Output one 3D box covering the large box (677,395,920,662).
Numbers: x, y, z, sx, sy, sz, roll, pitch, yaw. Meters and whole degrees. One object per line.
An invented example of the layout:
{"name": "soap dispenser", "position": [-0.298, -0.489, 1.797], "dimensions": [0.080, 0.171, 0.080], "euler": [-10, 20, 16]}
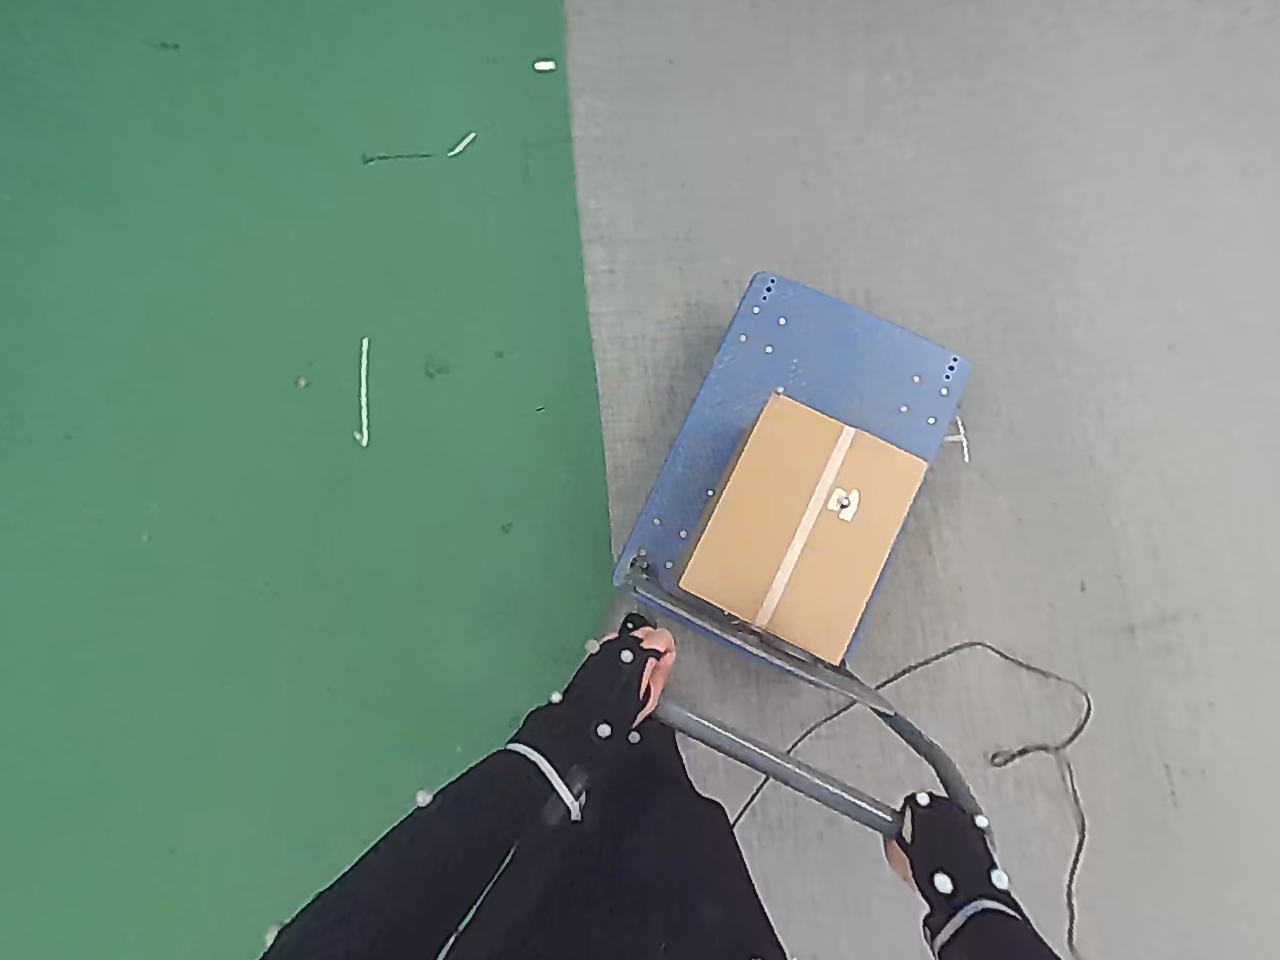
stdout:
{"name": "large box", "position": [0.295, 0.103, 1.121], "dimensions": [0.320, 0.320, 0.408], "euler": [26, 83, 5]}
